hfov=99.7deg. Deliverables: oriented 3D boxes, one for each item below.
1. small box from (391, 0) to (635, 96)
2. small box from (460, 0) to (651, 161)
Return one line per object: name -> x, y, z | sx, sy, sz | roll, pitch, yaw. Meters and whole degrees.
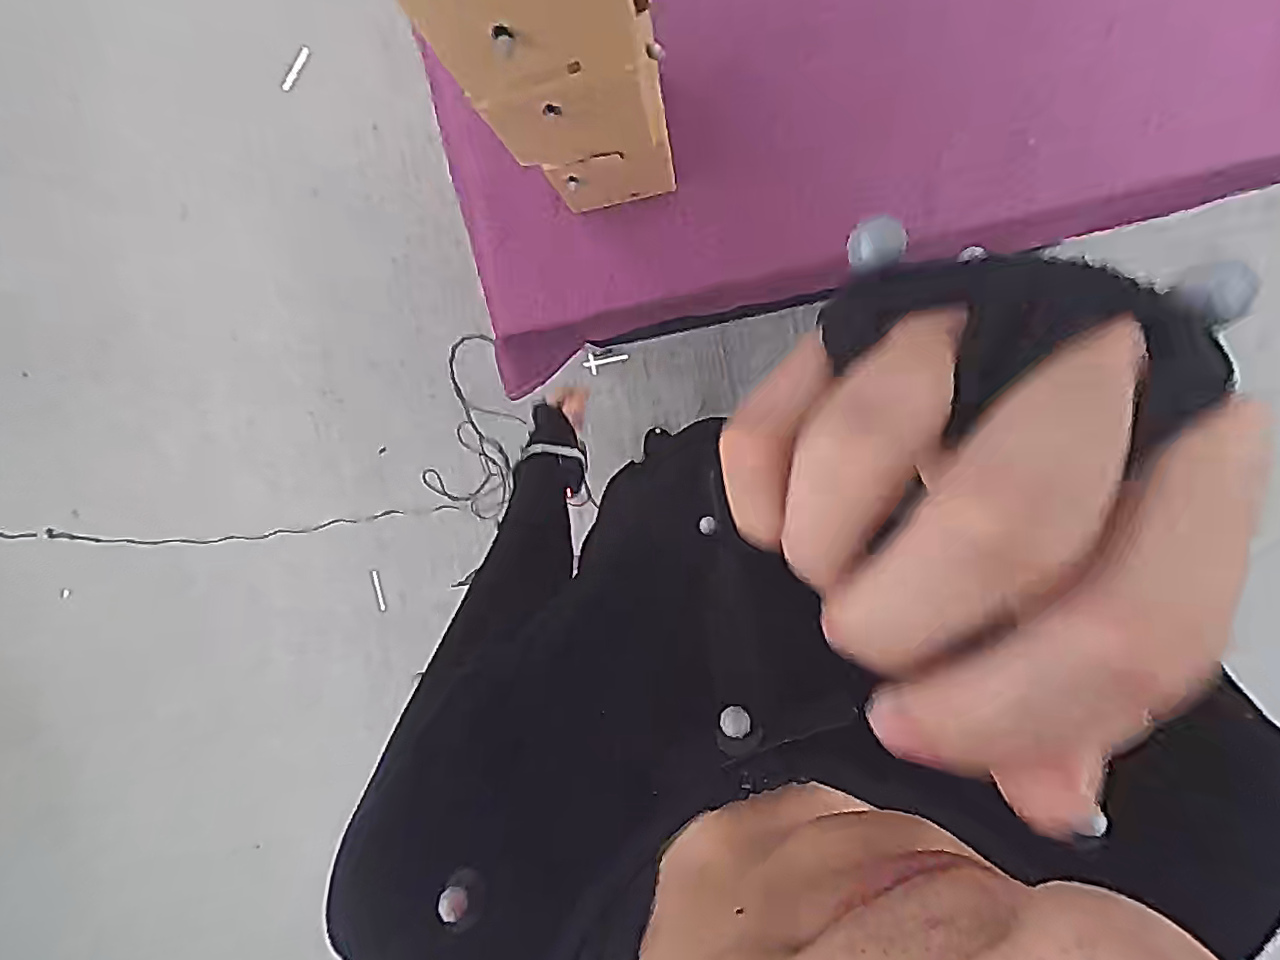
small box -> -0.105, -0.451, 0.438 | 0.168, 0.176, 0.179 | -9, 96, 8
small box -> -0.086, -0.478, 0.597 | 0.179, 0.176, 0.168 | -2, 98, 7
